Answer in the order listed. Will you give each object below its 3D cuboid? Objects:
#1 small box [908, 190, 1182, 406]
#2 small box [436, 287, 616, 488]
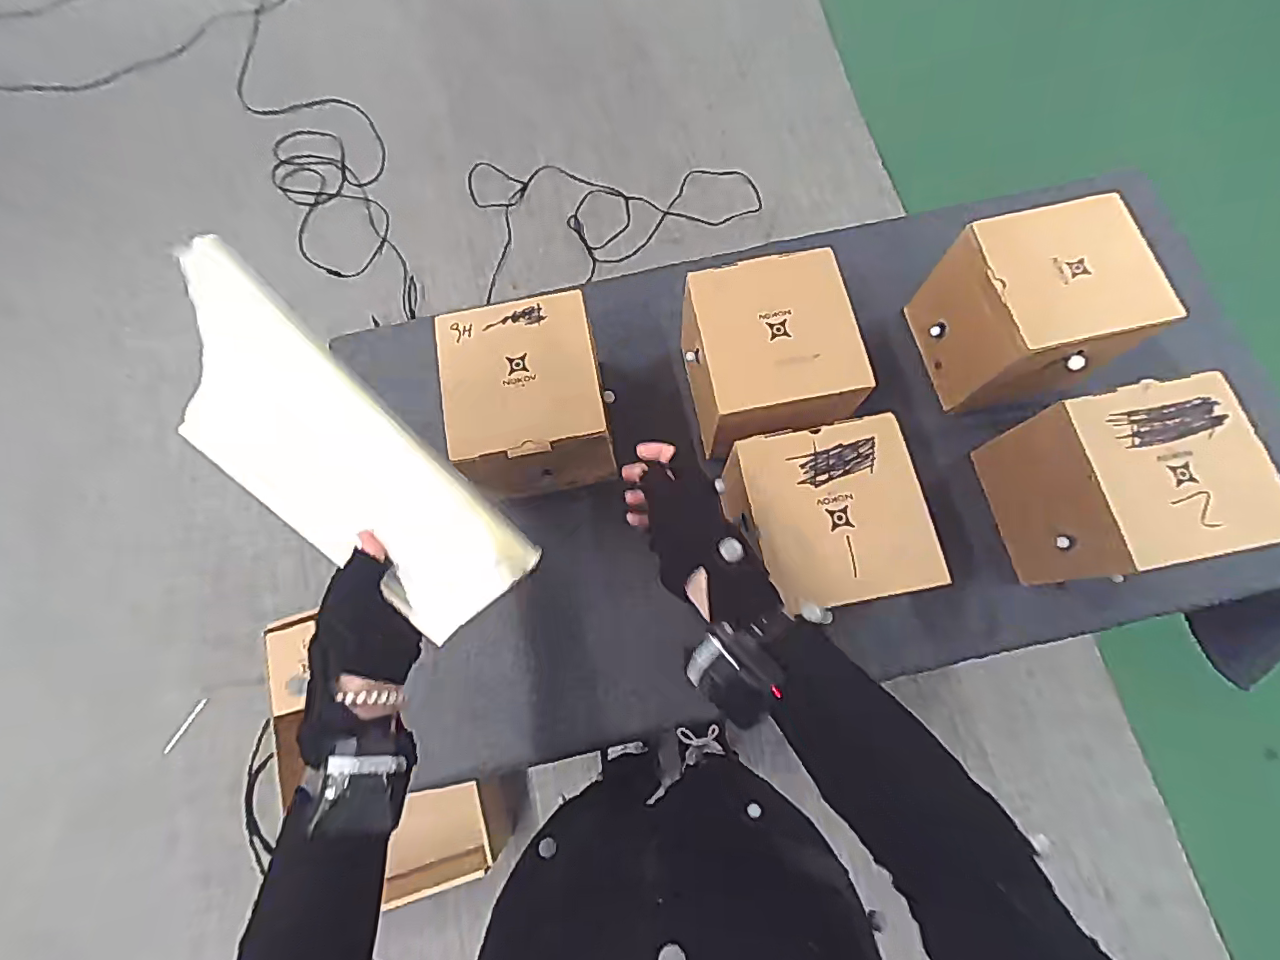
[{"bbox_3d":[0.467,-0.209,0.657,0.179,0.176,0.168,-13,74,0],"label":"small box"},{"bbox_3d":[-0.126,-0.096,0.648,0.168,0.176,0.179,-11,75,-1],"label":"small box"}]
